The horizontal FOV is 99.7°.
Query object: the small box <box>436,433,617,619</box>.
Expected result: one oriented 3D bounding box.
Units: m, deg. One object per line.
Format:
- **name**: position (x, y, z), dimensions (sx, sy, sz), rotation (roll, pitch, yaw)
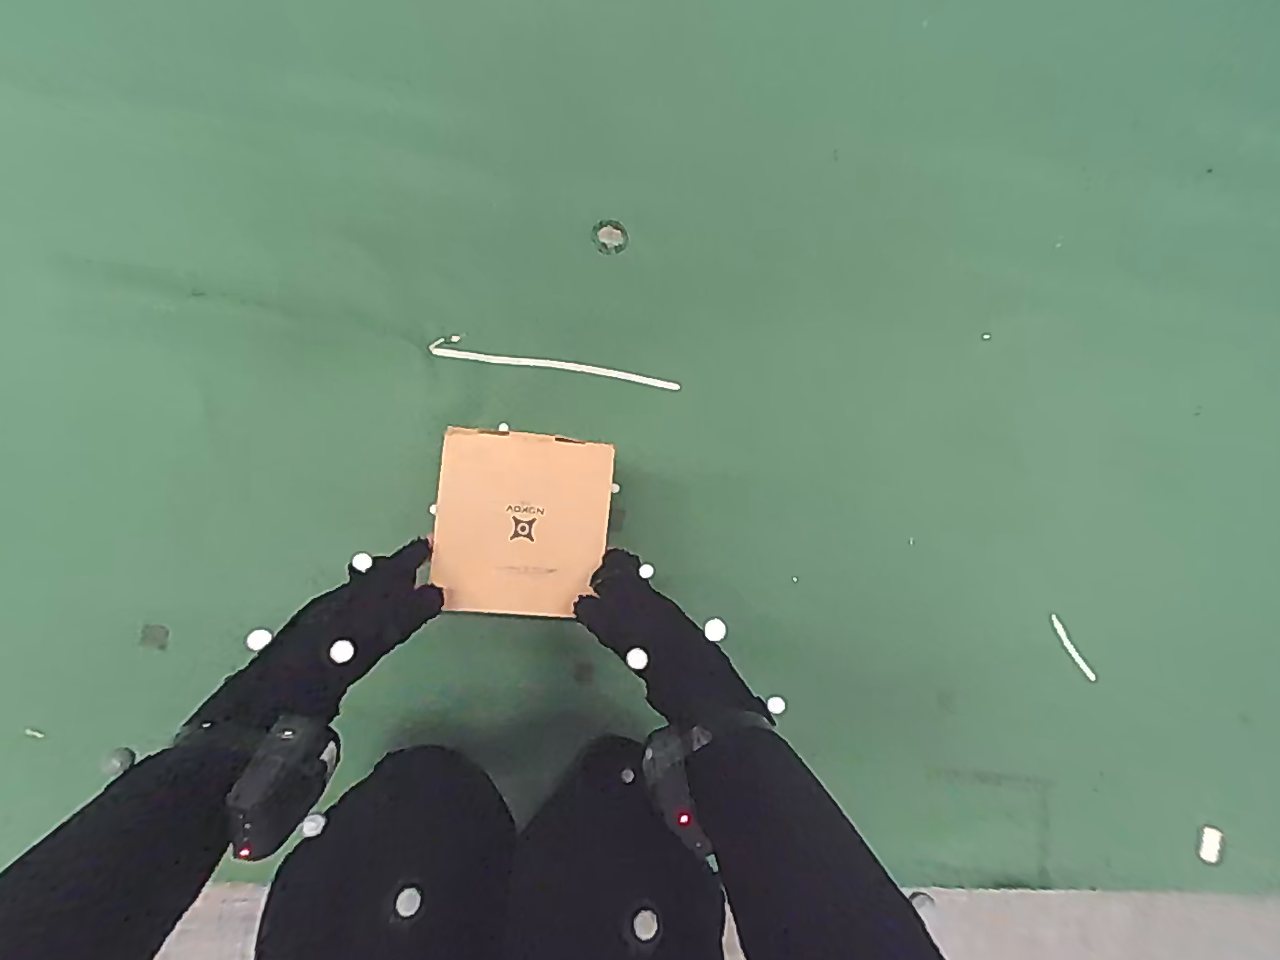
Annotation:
- **small box**: position (-0.120, 0.047, 0.610), dimensions (0.168, 0.176, 0.179), rotation (4, 89, -7)
